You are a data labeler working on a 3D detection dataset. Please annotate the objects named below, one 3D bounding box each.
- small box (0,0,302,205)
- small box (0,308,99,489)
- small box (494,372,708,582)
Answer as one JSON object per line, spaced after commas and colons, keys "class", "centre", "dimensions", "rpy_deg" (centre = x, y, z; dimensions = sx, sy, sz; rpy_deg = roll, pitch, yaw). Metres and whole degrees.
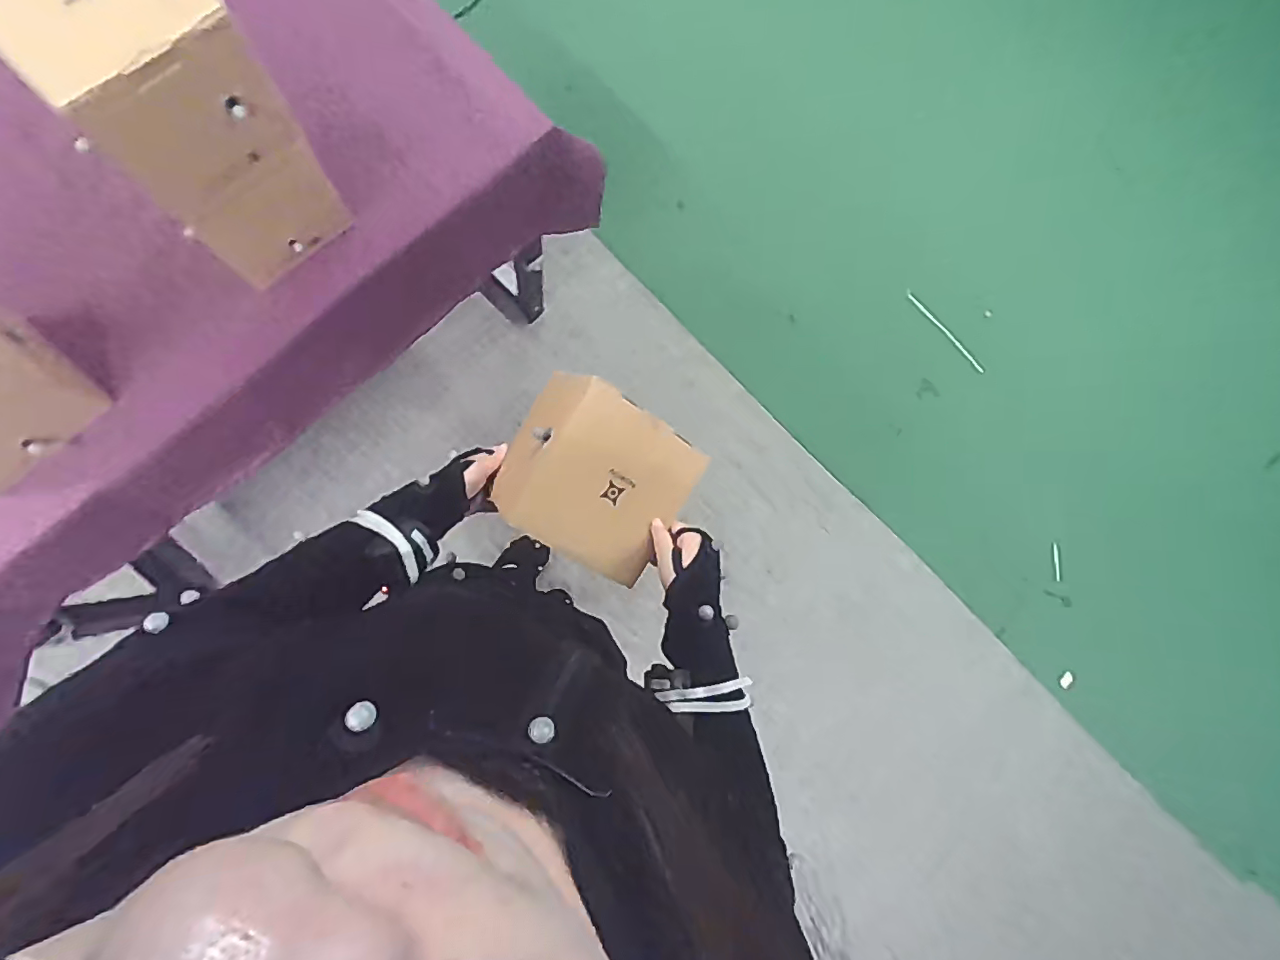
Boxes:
{"class": "small box", "centre": [-0.485, -0.409, 0.534], "dimensions": [0.179, 0.176, 0.168], "rpy_deg": [45, 78, -3]}
{"class": "small box", "centre": [-0.788, -0.108, 0.613], "dimensions": [0.168, 0.176, 0.179], "rpy_deg": [43, 78, -3]}
{"class": "small box", "centre": [-0.058, -0.012, 0.647], "dimensions": [0.168, 0.176, 0.179], "rpy_deg": [32, 88, -27]}
